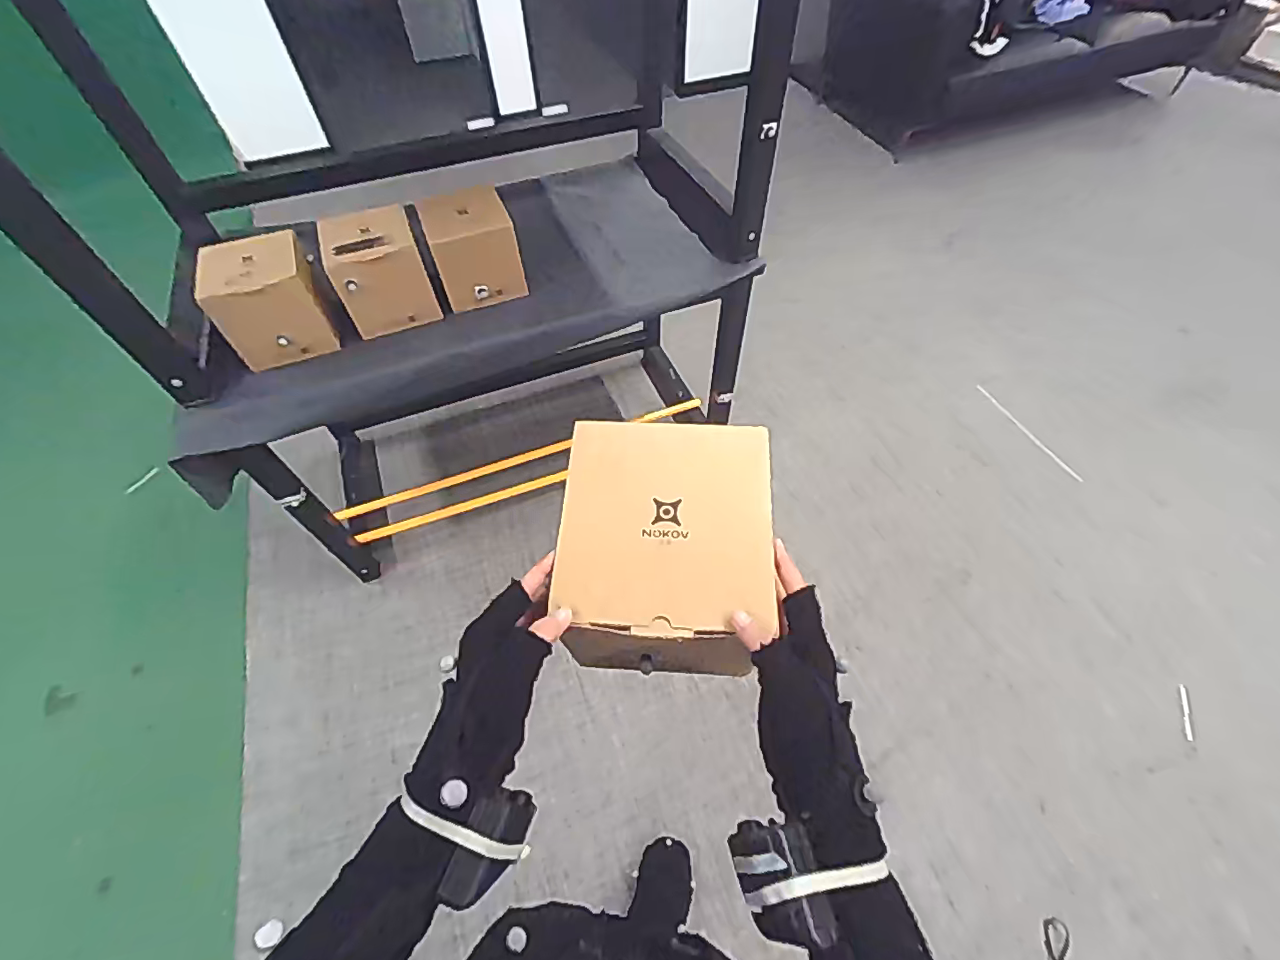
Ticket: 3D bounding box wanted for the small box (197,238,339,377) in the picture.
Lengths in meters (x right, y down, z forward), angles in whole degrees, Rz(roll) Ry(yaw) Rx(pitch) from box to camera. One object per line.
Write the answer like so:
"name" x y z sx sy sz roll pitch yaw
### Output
"small box" -0.707 -0.331 1.043 0.168 0.176 0.179 -20 56 -13
